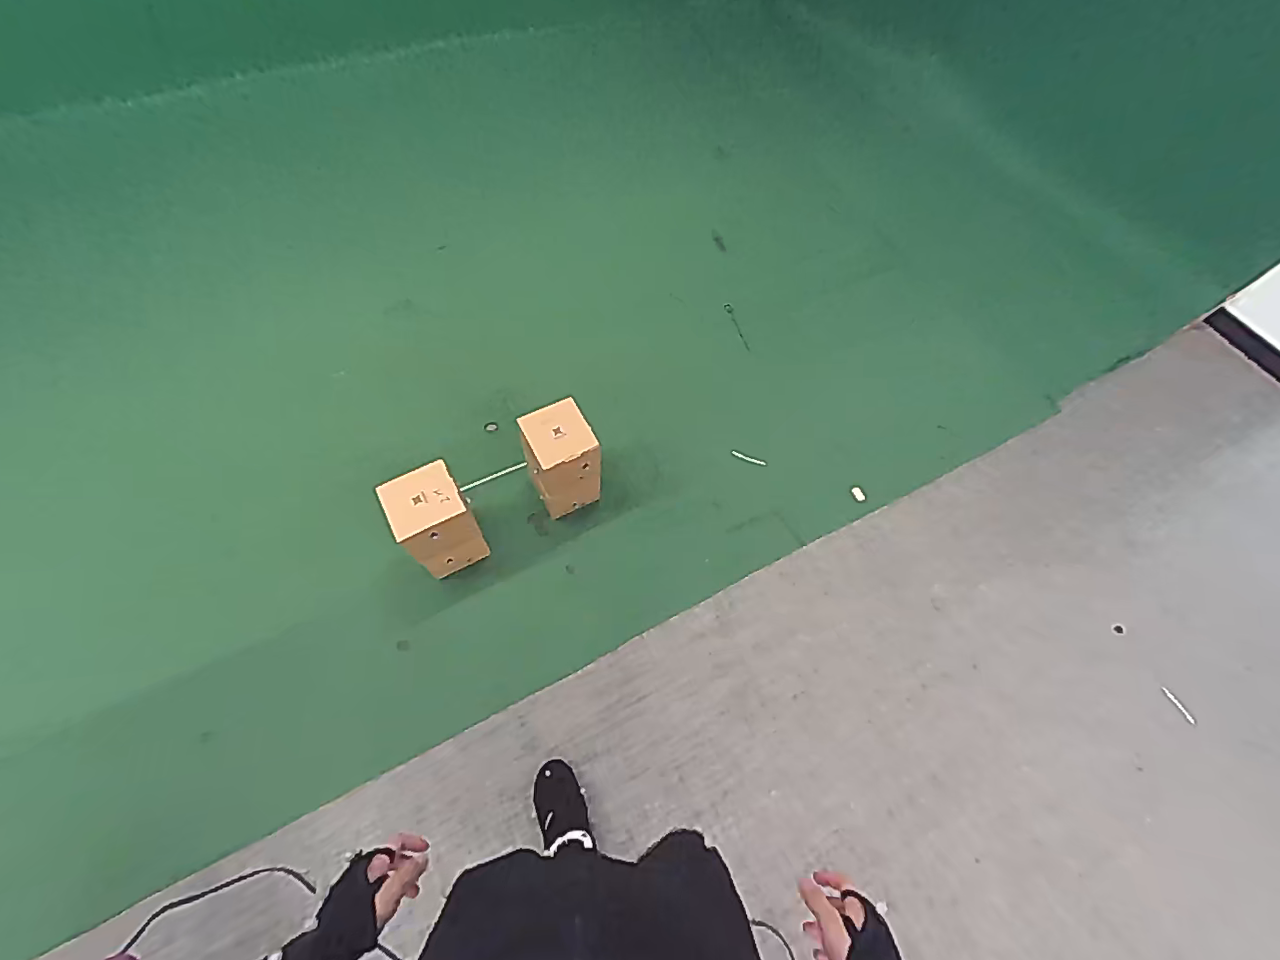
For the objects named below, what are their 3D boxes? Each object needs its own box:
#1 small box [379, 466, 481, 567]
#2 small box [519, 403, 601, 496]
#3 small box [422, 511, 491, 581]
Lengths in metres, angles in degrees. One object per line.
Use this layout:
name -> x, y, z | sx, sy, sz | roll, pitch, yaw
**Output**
small box -> -0.533, 0.100, 1.390 | 0.179, 0.176, 0.168 | -26, 67, -16
small box -> -0.217, -0.075, 1.499 | 0.168, 0.176, 0.179 | -25, 68, -16
small box -> -0.542, 0.170, 1.539 | 0.168, 0.176, 0.179 | -26, 67, -15
